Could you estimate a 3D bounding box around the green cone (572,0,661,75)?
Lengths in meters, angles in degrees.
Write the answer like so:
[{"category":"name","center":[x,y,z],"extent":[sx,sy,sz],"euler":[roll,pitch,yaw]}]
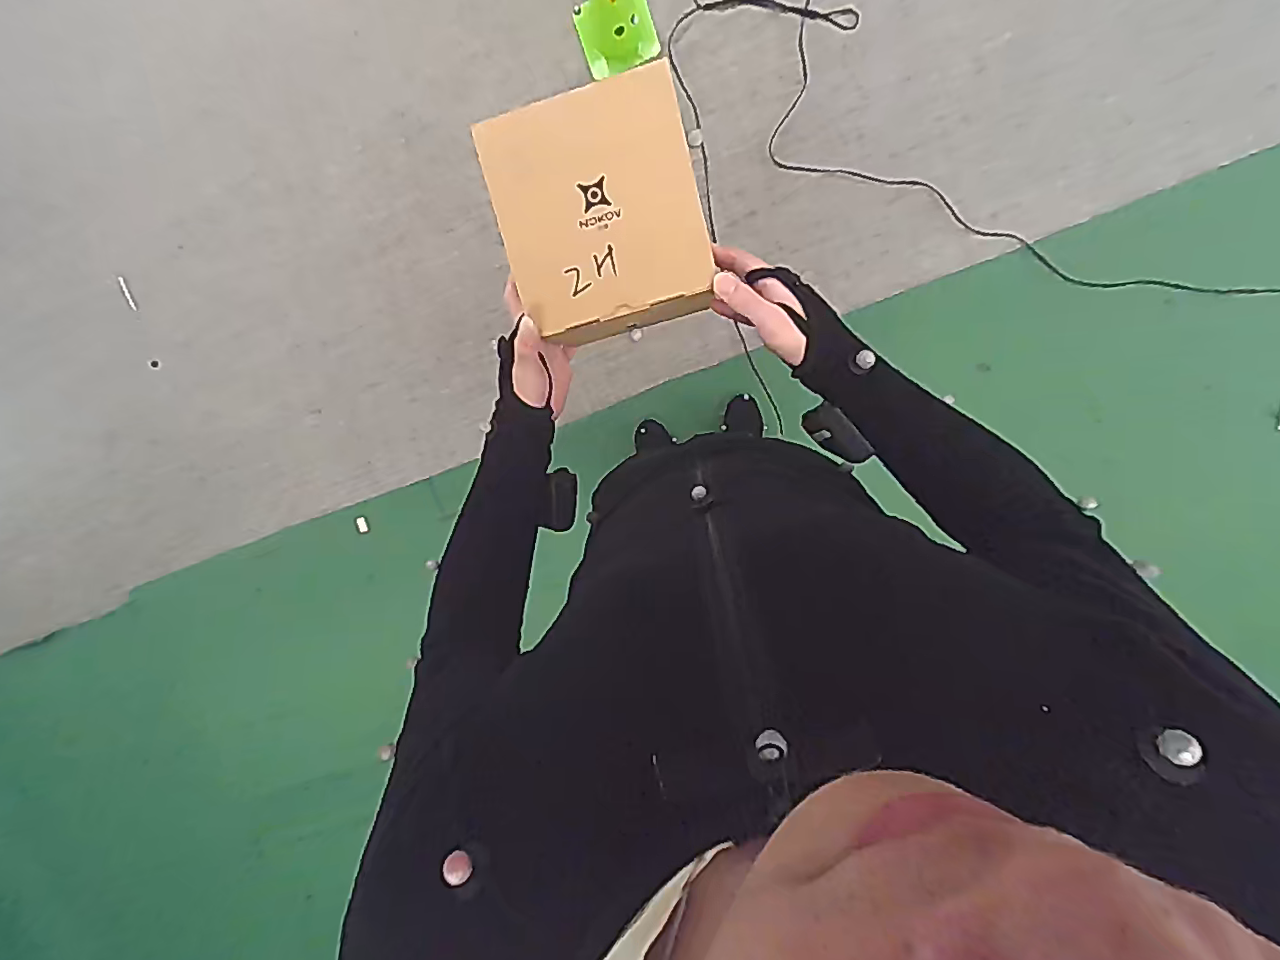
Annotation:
[{"category":"green cone","center":[-0.075,-1.197,1.286],"extent":[0.202,0.368,0.200],"euler":[-19,96,6]}]
